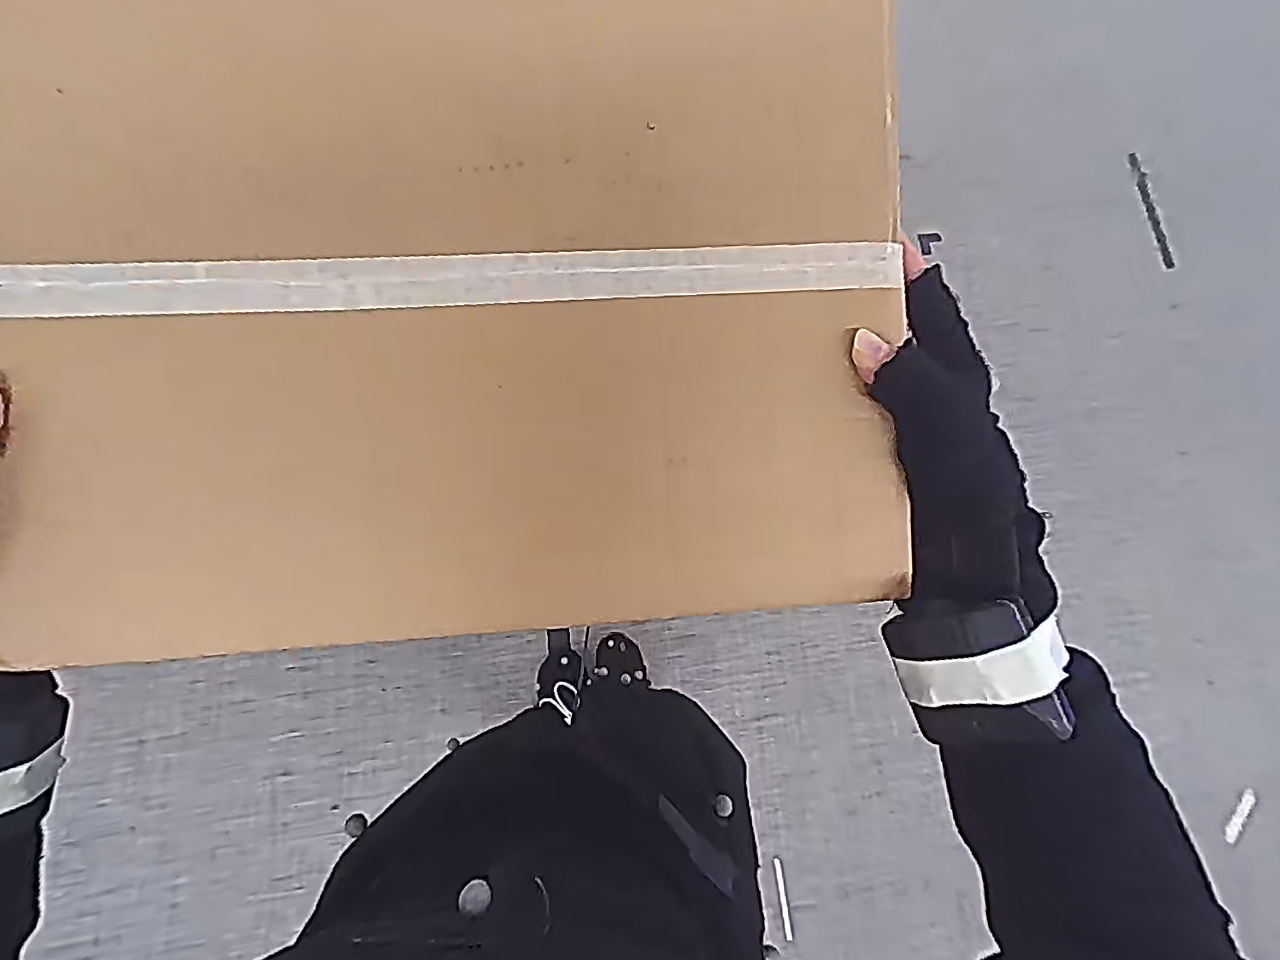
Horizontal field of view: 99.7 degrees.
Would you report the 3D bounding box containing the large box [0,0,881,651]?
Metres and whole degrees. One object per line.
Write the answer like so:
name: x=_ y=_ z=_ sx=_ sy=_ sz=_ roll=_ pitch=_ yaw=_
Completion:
large box: x=-0.094 y=-0.098 z=0.395 sx=0.408 sy=0.320 sz=0.320 roll=-3 pitch=93 yaw=-5
